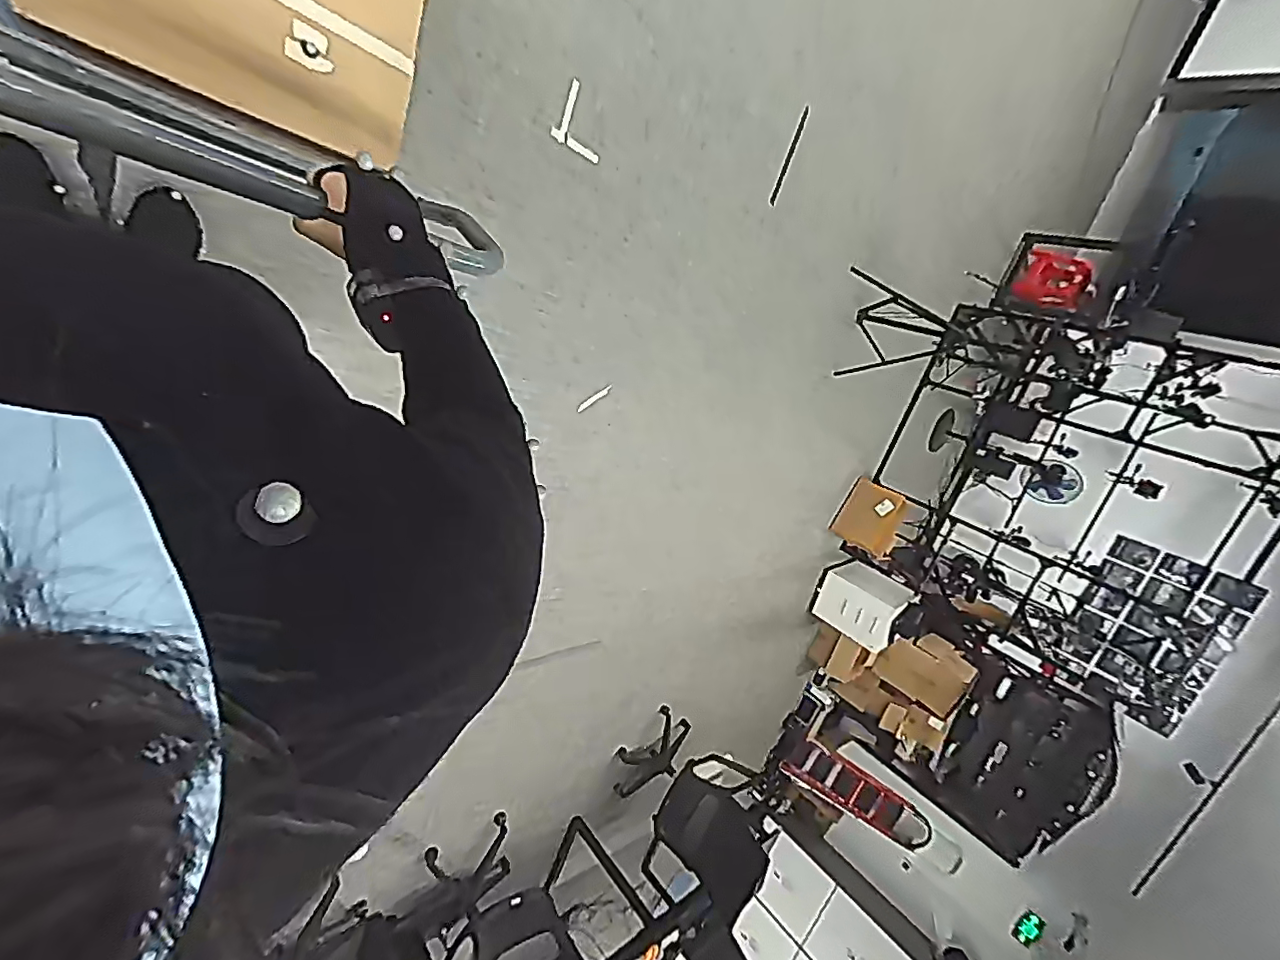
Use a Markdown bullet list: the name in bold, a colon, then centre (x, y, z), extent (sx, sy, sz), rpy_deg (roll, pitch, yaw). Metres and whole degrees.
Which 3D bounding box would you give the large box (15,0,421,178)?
- **large box**: centre (-0.593, -0.683, 0.778), extent (0.408, 0.320, 0.320), rpy_deg (3, 112, -48)
